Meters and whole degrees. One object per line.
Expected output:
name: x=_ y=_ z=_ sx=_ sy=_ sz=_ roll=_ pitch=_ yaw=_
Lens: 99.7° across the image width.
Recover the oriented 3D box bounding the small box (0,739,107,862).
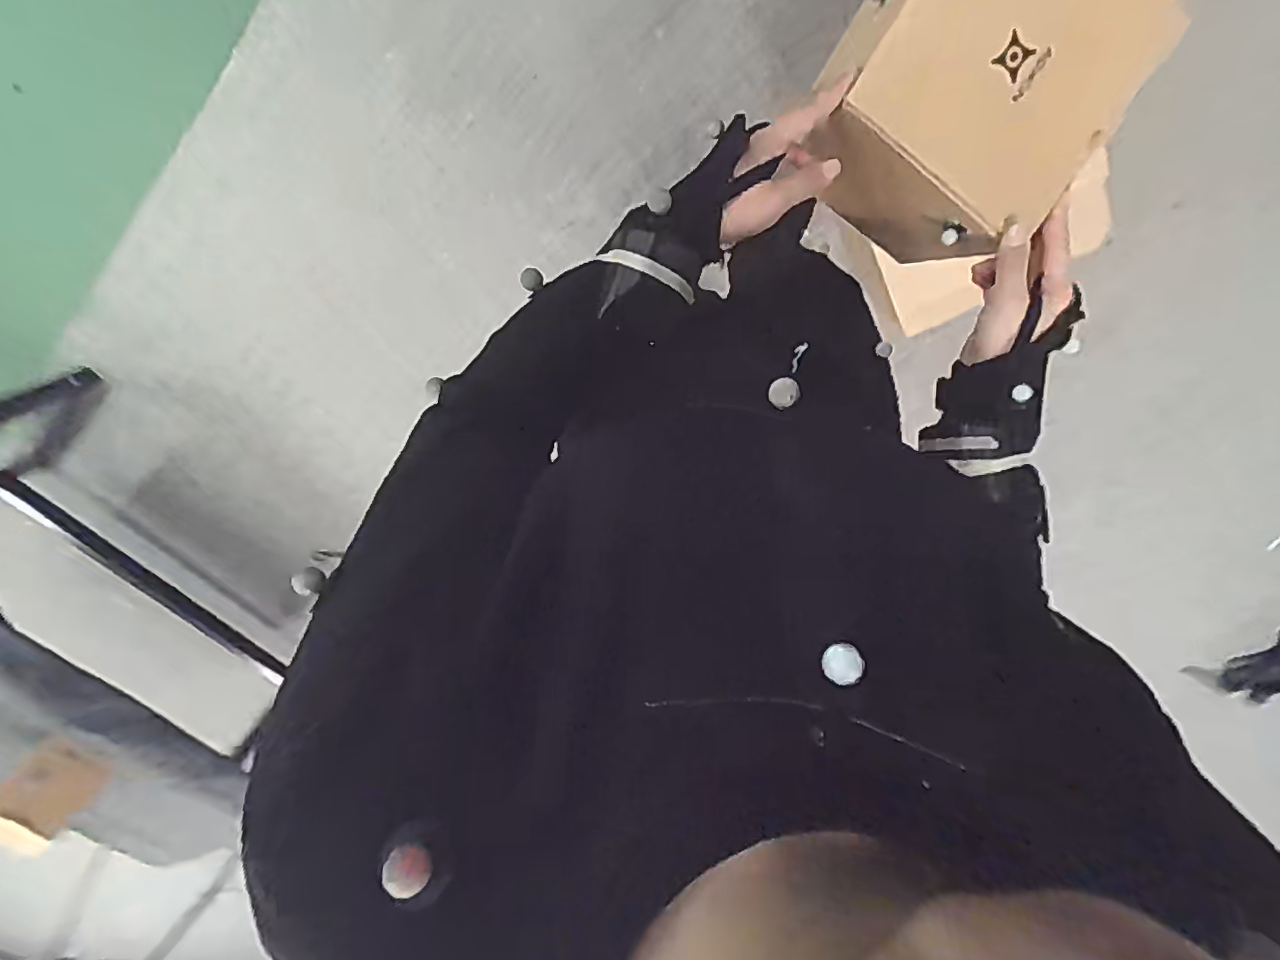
small box: x=-1.352 y=0.703 z=1.193 sx=0.179 sy=0.176 sz=0.168 roll=-29 pitch=113 yaw=25

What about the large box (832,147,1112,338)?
large box: x=0.505 y=-0.530 z=0.923 sx=0.320 sy=0.320 sz=0.408 roll=-24 pitch=117 yaw=22

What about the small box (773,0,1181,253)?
small box: x=0.236 y=-0.300 z=0.429 sx=0.179 sy=0.176 sz=0.168 roll=29 pitch=104 yaw=-15
